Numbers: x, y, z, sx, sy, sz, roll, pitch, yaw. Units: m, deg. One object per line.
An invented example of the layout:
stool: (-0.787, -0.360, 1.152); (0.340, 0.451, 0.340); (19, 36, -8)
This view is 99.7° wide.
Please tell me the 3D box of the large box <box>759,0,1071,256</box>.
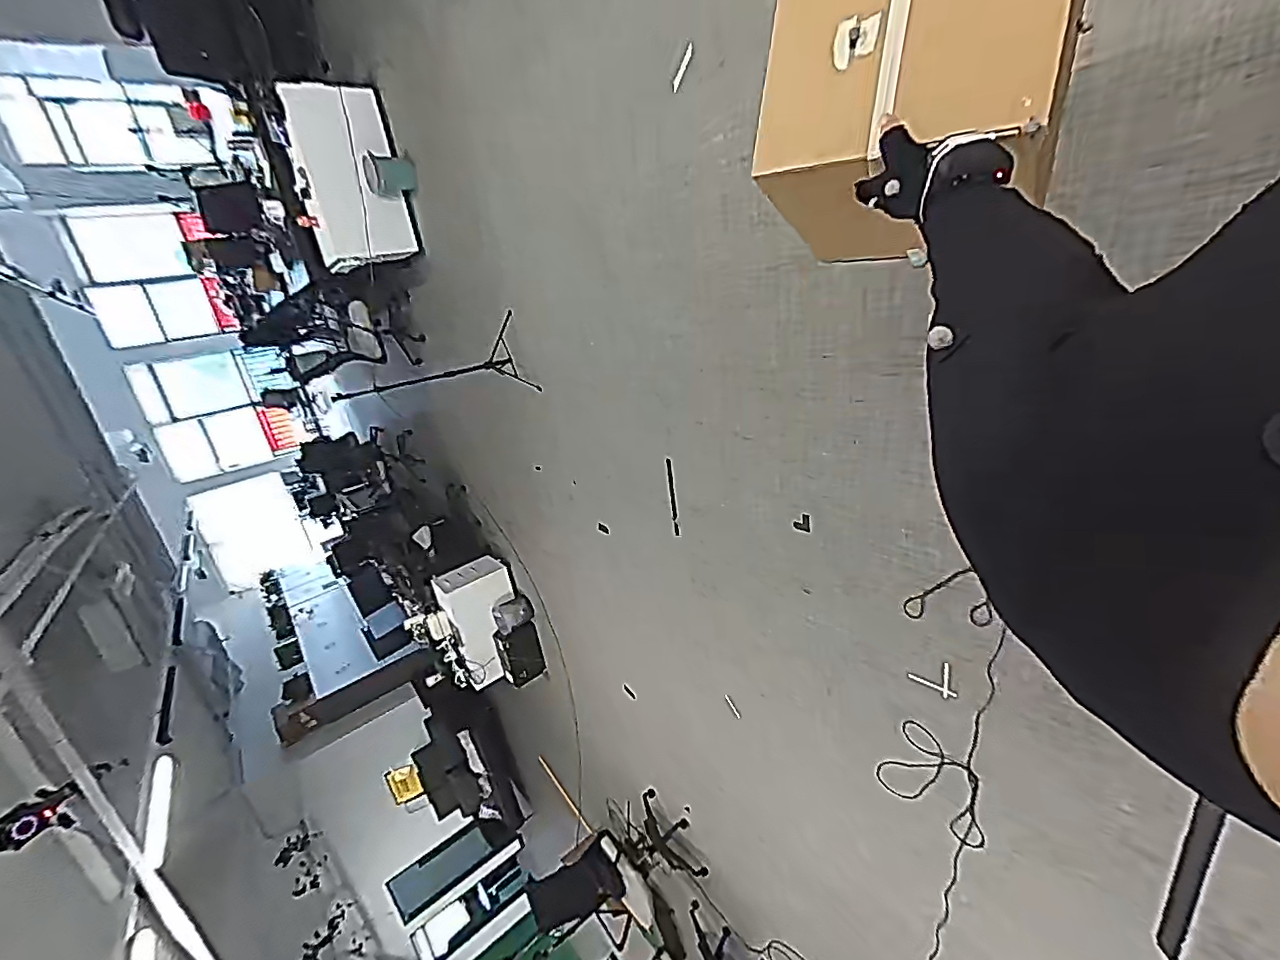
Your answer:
large box: (0.386, -0.570, 0.734); (0.320, 0.320, 0.408); (10, 95, 36)
